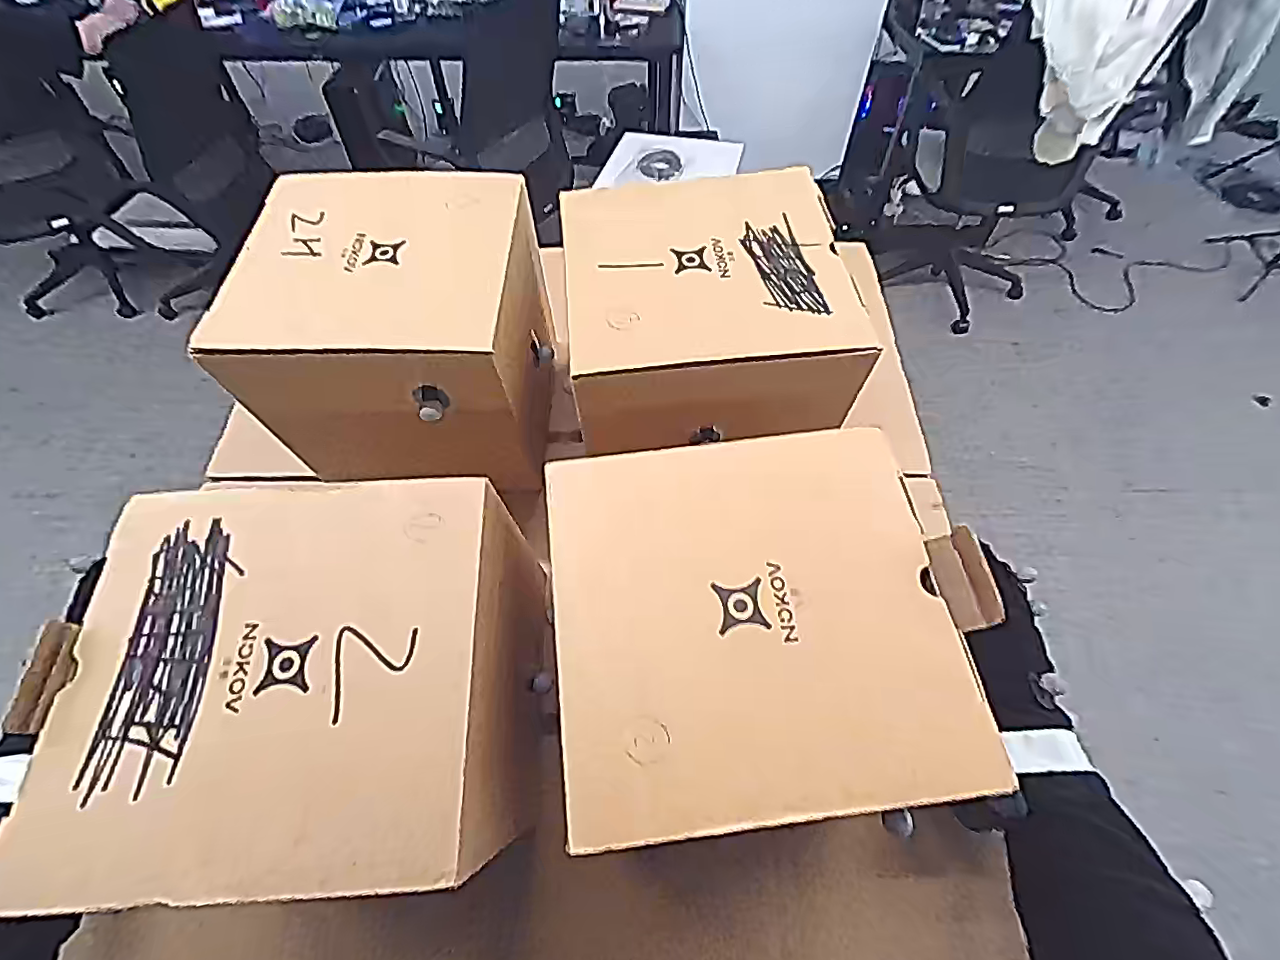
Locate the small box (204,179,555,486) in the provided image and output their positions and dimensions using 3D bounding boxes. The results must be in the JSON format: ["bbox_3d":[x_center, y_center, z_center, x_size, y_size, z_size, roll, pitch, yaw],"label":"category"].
[{"bbox_3d":[-0.168,-0.105,0.425,0.179,0.176,0.168,1,60,2],"label":"small box"}]
